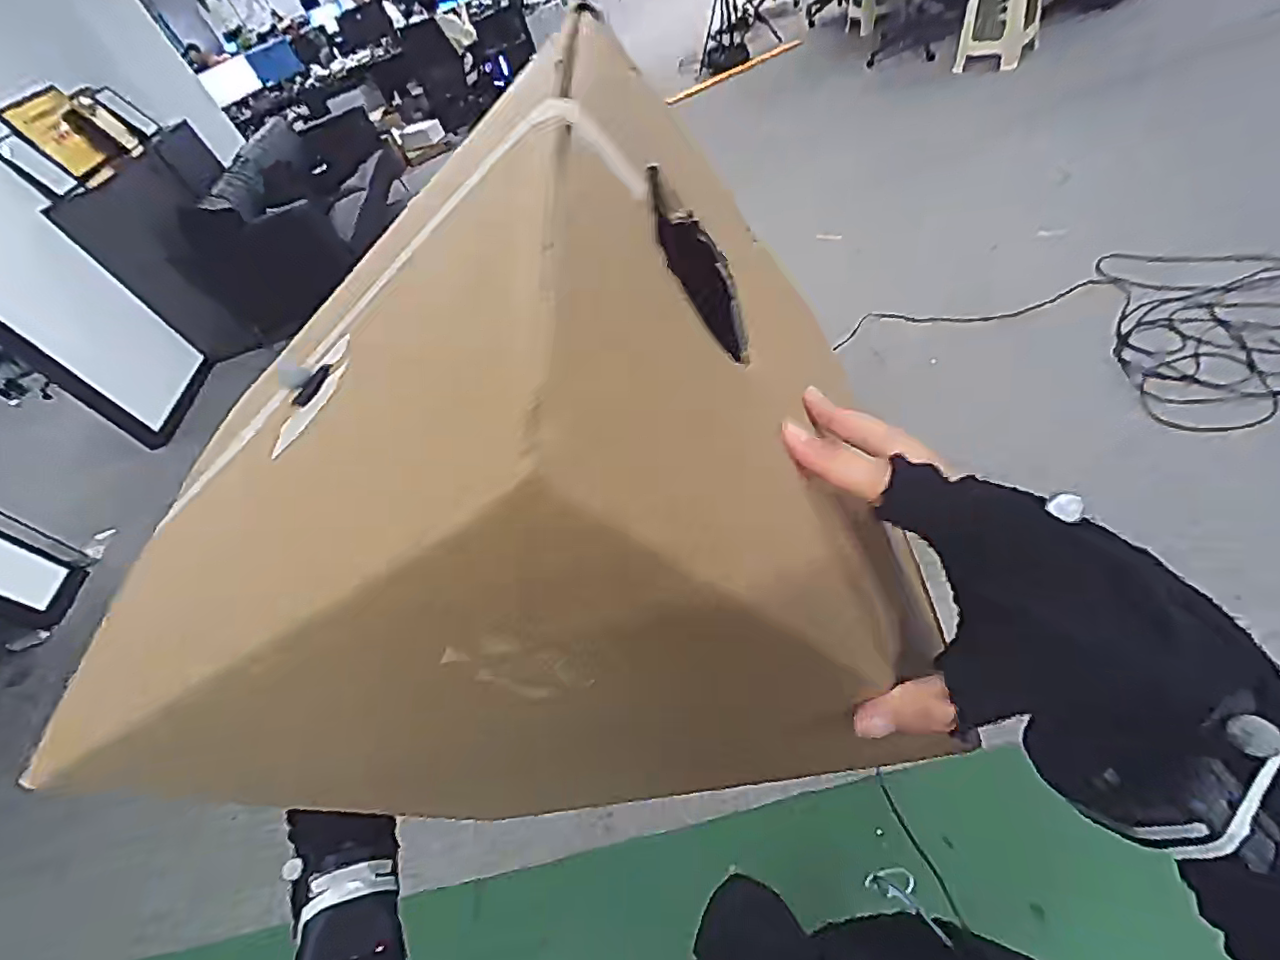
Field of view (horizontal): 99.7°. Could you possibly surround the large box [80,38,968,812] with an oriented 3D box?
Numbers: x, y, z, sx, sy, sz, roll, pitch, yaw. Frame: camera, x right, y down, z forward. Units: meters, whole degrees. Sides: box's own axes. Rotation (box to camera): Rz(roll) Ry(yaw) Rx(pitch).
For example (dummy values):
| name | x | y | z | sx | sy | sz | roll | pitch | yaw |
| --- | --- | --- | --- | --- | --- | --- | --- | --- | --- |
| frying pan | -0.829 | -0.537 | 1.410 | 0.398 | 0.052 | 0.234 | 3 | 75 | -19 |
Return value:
| name | x | y | z | sx | sy | sz | roll | pitch | yaw |
| --- | --- | --- | --- | --- | --- | --- | --- | --- | --- |
| large box | -0.068 | 0.027 | 0.389 | 0.408 | 0.320 | 0.320 | -28 | 46 | 29 |
